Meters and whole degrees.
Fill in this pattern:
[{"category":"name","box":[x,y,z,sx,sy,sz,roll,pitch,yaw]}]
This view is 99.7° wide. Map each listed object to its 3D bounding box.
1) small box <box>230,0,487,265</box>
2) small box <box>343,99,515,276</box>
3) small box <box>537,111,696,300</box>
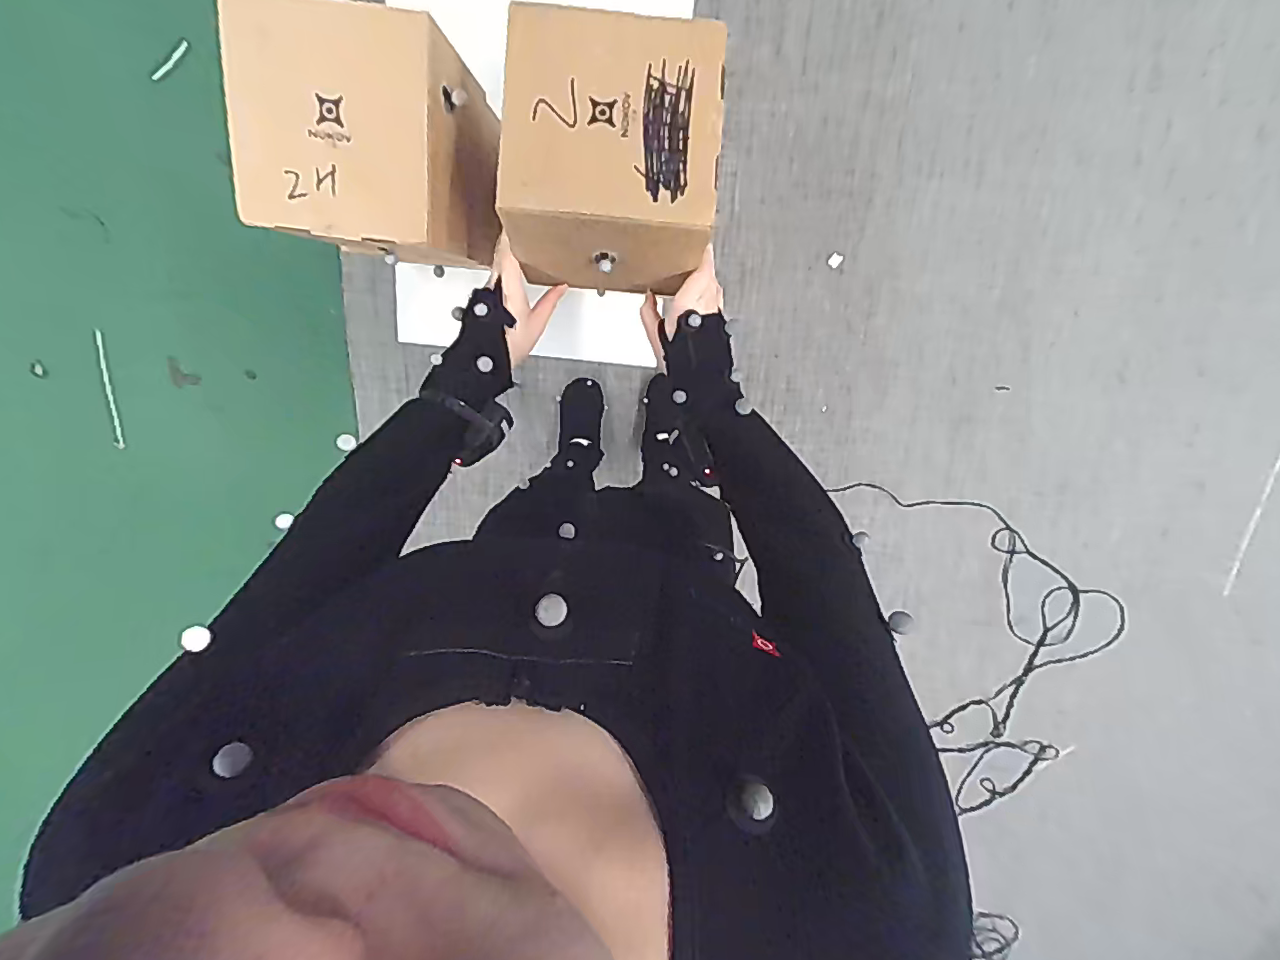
[{"category":"small box","box":[-0.254,-0.319,0.528,0.168,0.176,0.179,7,107,-2]},{"category":"small box","box":[-0.259,-0.364,0.686,0.168,0.176,0.179,6,108,-2]},{"category":"small box","box":[-0.029,-0.335,0.694,0.168,0.176,0.179,8,108,-1]}]
